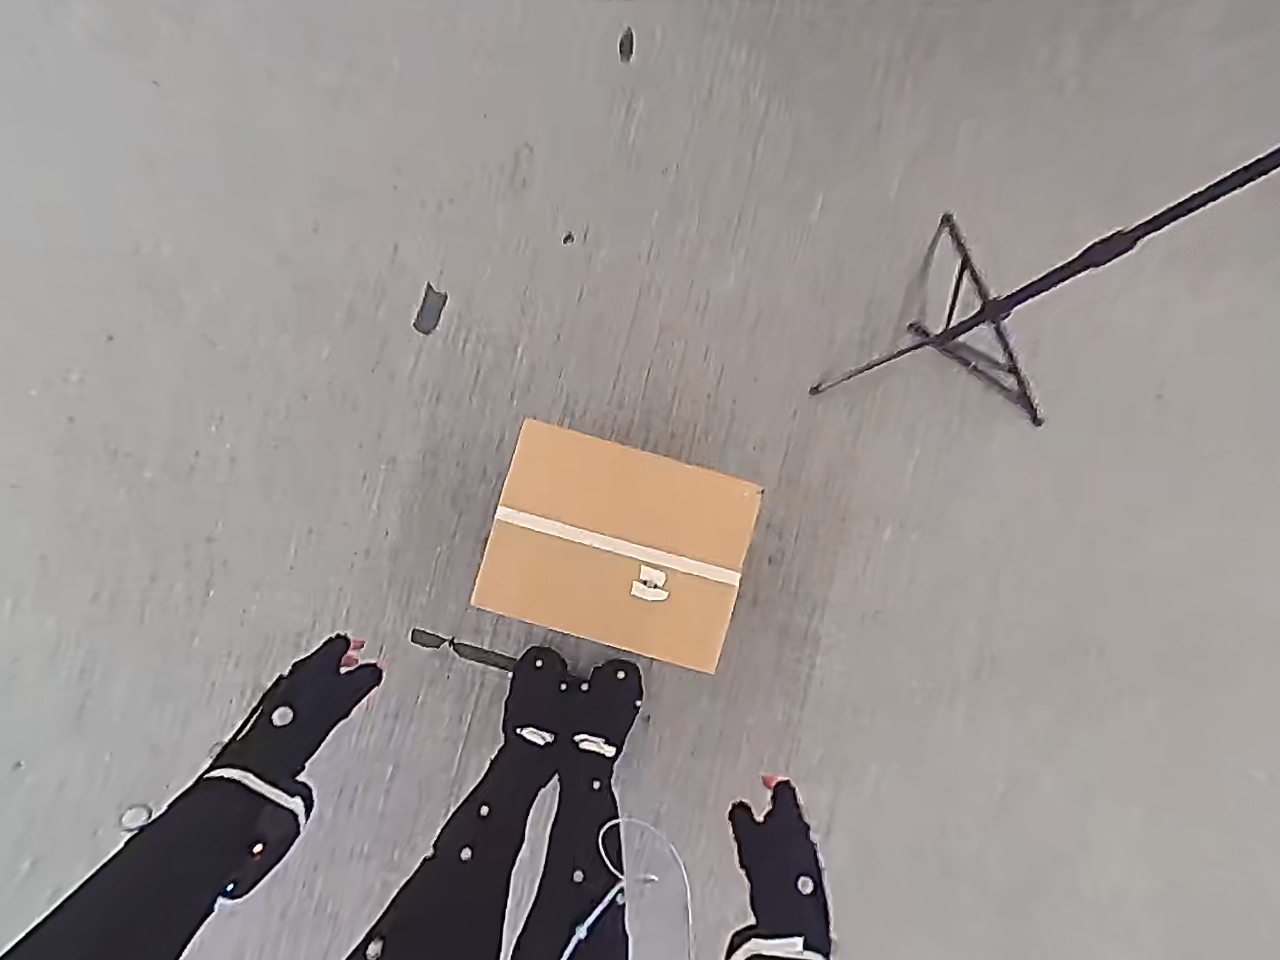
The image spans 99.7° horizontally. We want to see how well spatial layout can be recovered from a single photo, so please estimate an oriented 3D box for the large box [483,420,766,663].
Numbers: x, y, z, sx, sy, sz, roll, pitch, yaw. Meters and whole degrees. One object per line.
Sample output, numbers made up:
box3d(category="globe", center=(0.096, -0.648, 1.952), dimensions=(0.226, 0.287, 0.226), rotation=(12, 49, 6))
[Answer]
box3d(category="large box", center=(-0.028, 0.106, 1.021), dimensions=(0.408, 0.320, 0.320), rotation=(16, 87, -1))
